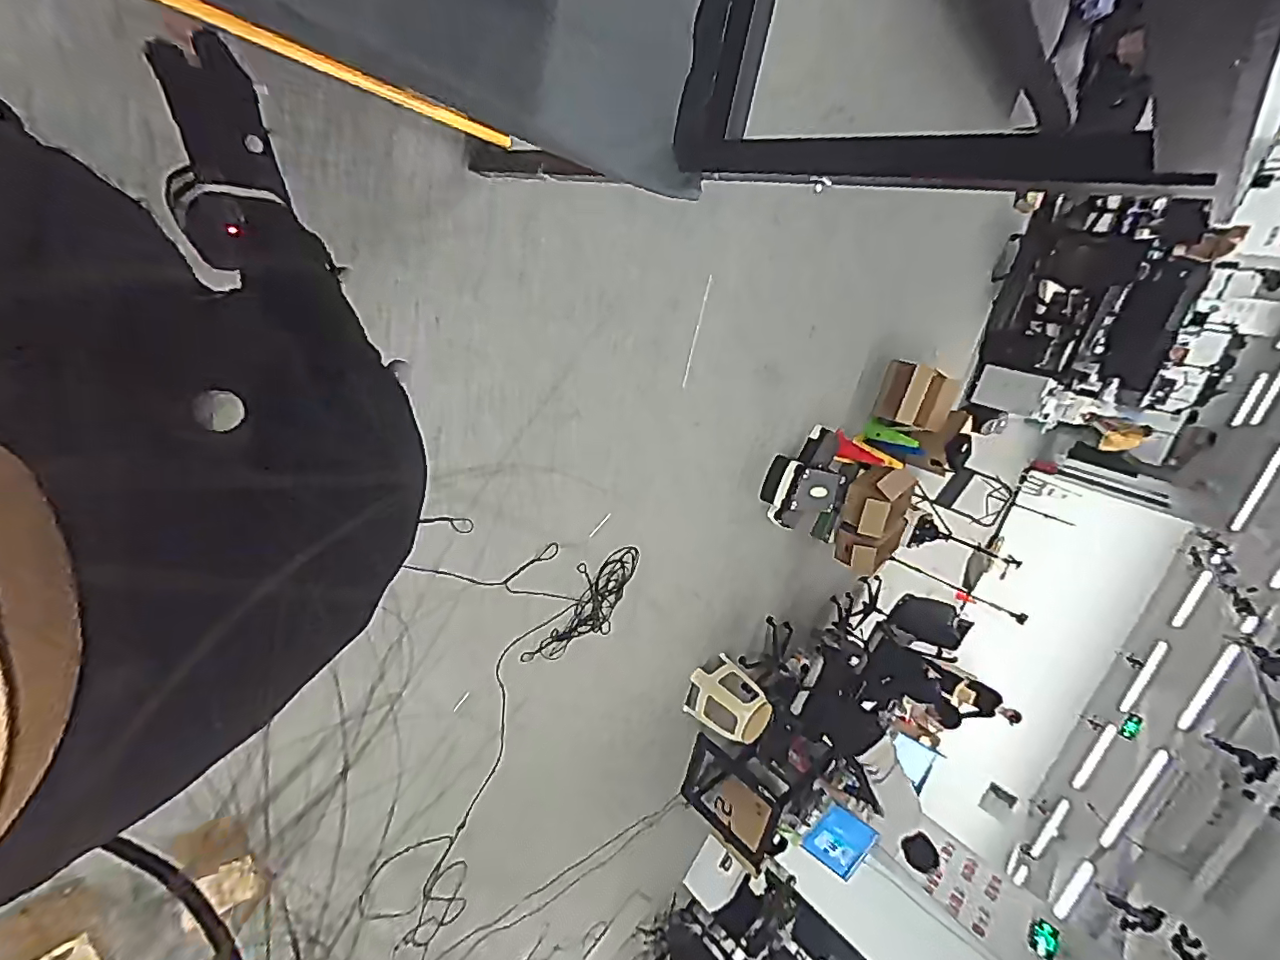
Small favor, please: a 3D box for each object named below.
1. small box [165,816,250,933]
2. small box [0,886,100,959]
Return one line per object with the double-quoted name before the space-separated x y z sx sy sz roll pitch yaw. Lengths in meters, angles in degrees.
"small box" -1.235 1.116 1.545 0.168 0.176 0.179 -10 118 -45
"small box" -1.456 1.148 1.319 0.168 0.176 0.179 -14 122 -42
